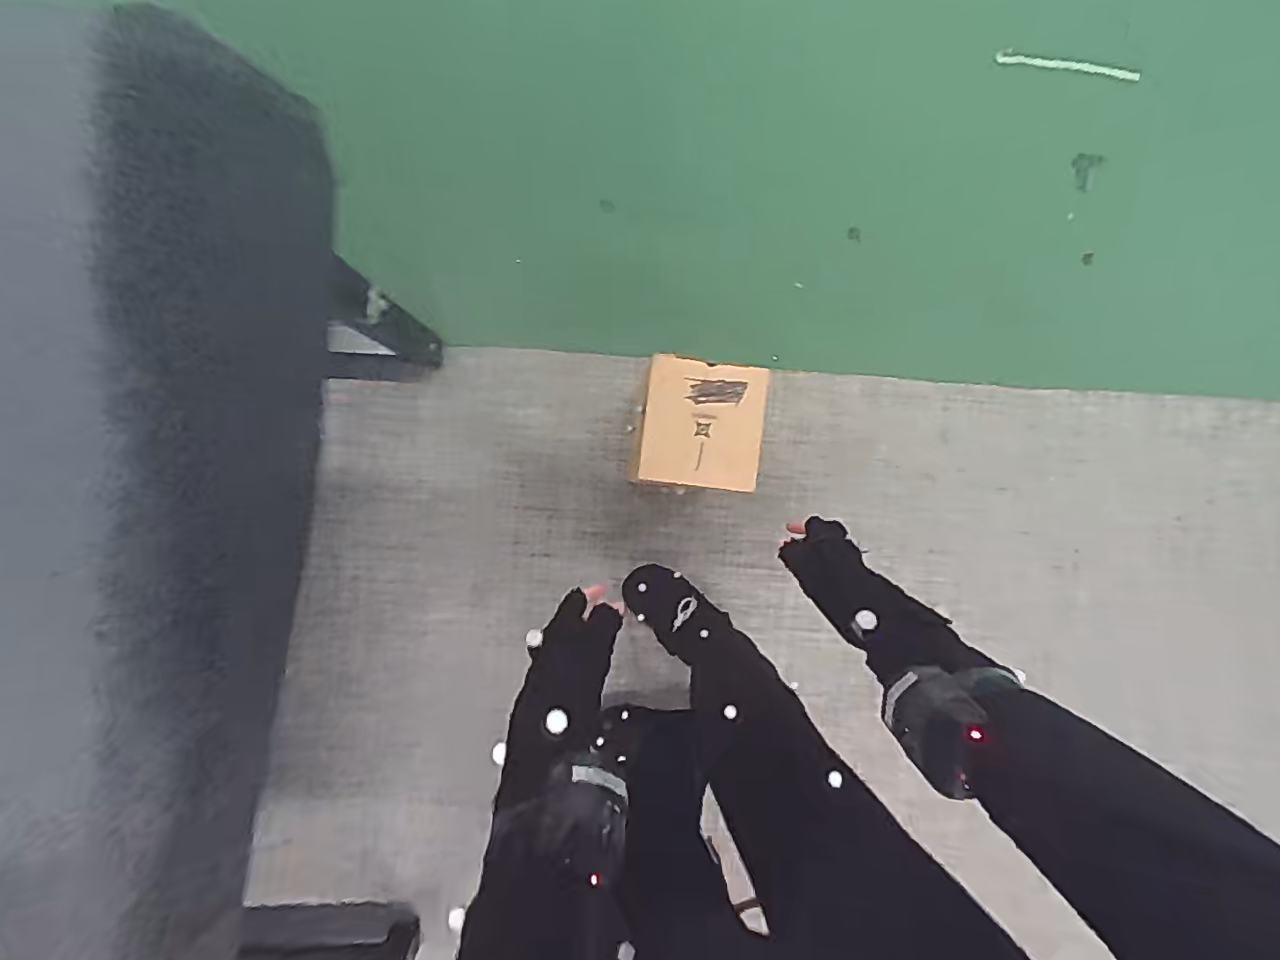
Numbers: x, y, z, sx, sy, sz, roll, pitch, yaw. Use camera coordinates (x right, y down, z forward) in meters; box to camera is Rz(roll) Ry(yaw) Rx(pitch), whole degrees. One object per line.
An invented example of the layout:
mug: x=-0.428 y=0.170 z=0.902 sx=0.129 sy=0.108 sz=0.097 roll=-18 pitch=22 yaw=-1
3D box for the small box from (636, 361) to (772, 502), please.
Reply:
small box: x=0.086 y=-0.068 z=0.823 sx=0.168 sy=0.176 sz=0.179 roll=8 pitch=91 yaw=-3

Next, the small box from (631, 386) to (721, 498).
small box: x=0.075 y=-0.065 z=0.988 sx=0.168 sy=0.176 sz=0.179 roll=6 pitch=91 yaw=-3
